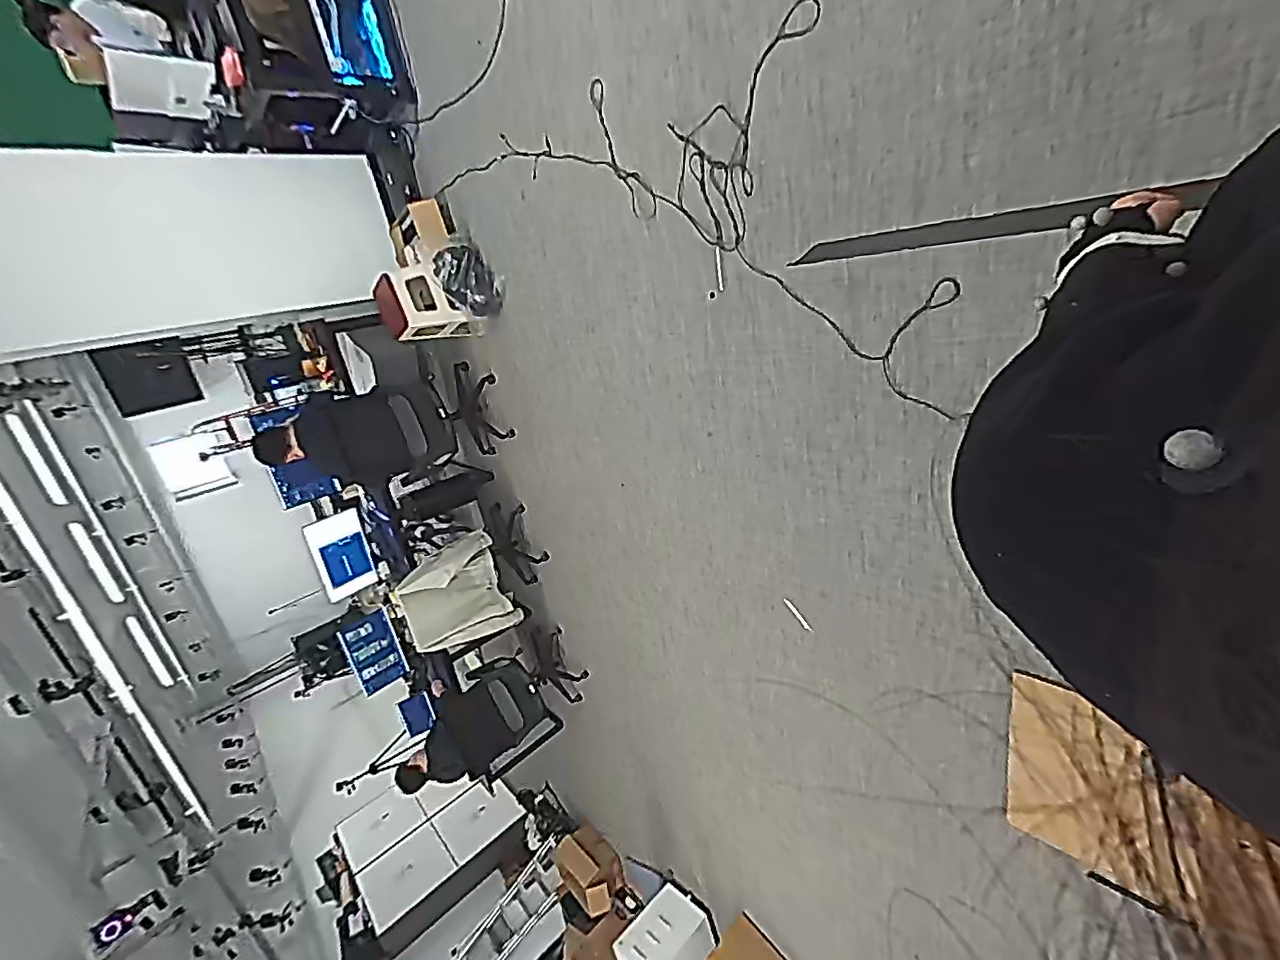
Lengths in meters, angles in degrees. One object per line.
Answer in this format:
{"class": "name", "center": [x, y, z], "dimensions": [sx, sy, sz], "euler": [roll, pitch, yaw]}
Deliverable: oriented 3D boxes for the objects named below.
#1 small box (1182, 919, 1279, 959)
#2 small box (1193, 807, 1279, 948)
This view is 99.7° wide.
{"class": "small box", "center": [1.155, 1.016, 1.036], "dimensions": [0.168, 0.176, 0.179], "euler": [14, 121, 47]}
{"class": "small box", "center": [1.398, 0.896, 1.224], "dimensions": [0.168, 0.176, 0.179], "euler": [17, 124, 47]}
